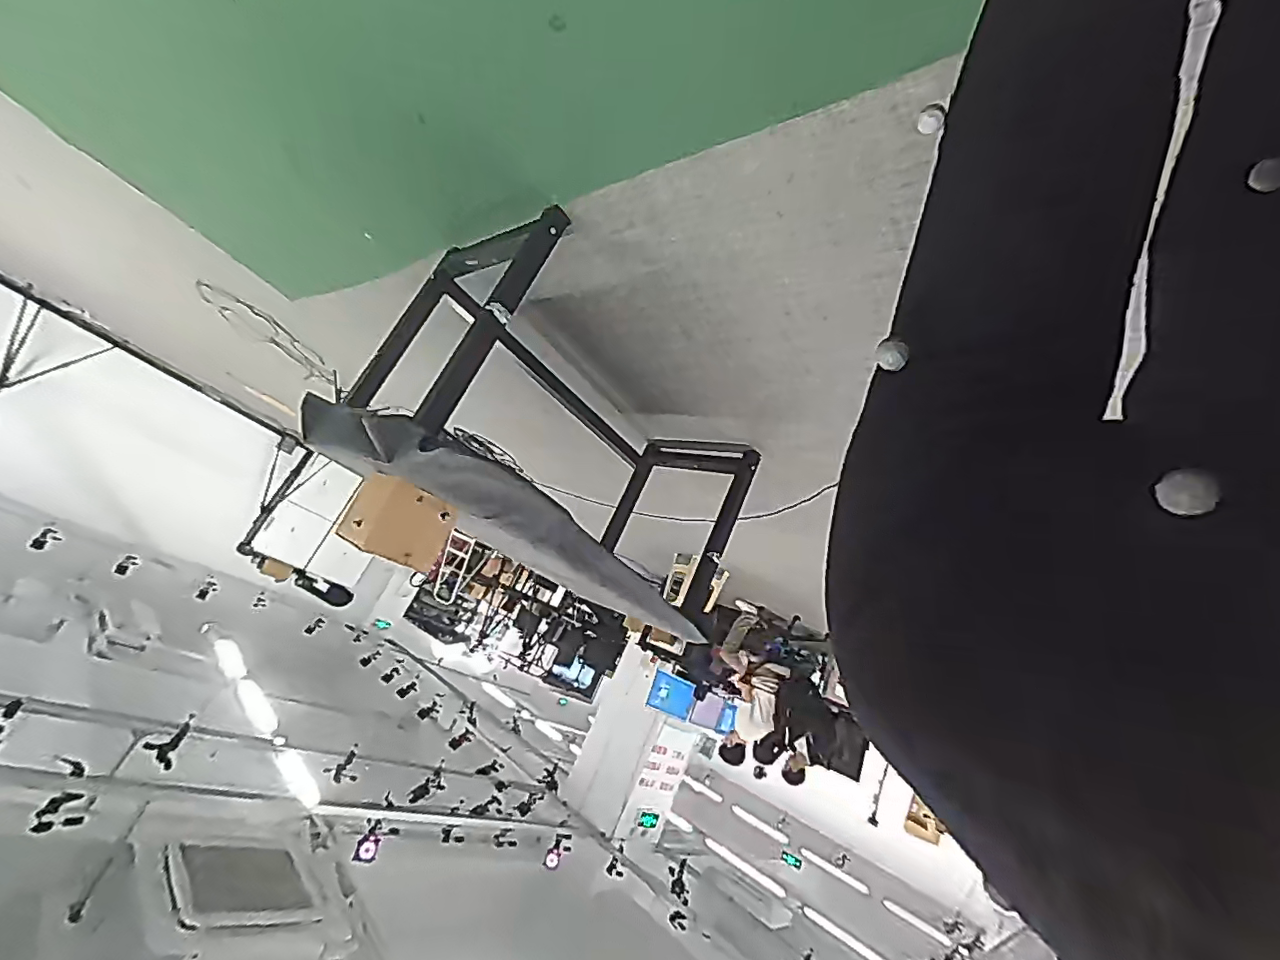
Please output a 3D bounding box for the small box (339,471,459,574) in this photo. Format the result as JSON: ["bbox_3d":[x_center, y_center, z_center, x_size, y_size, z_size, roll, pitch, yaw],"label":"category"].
[{"bbox_3d":[-0.545,0.093,1.242,0.179,0.176,0.168,11,159,44],"label":"small box"}]
